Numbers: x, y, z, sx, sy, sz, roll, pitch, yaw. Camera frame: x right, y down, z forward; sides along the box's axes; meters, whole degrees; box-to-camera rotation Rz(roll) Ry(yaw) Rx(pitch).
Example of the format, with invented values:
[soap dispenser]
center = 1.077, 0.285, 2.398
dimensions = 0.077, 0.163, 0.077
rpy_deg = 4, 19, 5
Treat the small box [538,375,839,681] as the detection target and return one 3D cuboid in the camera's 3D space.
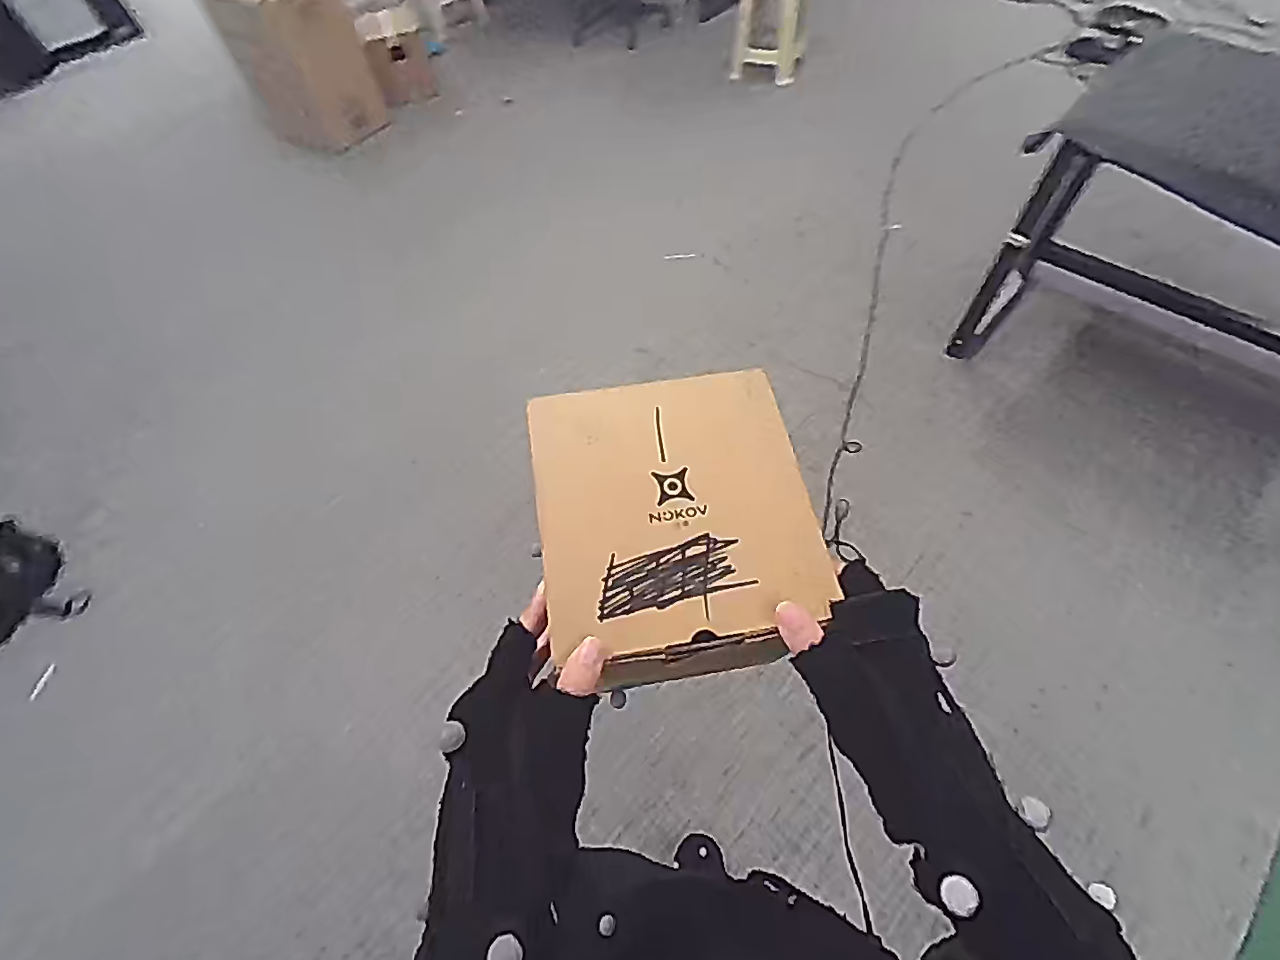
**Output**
[small box]
center = 0.022, 0.048, 0.408
dimensions = 0.168, 0.176, 0.179
rpy_deg = -7, 63, -5
